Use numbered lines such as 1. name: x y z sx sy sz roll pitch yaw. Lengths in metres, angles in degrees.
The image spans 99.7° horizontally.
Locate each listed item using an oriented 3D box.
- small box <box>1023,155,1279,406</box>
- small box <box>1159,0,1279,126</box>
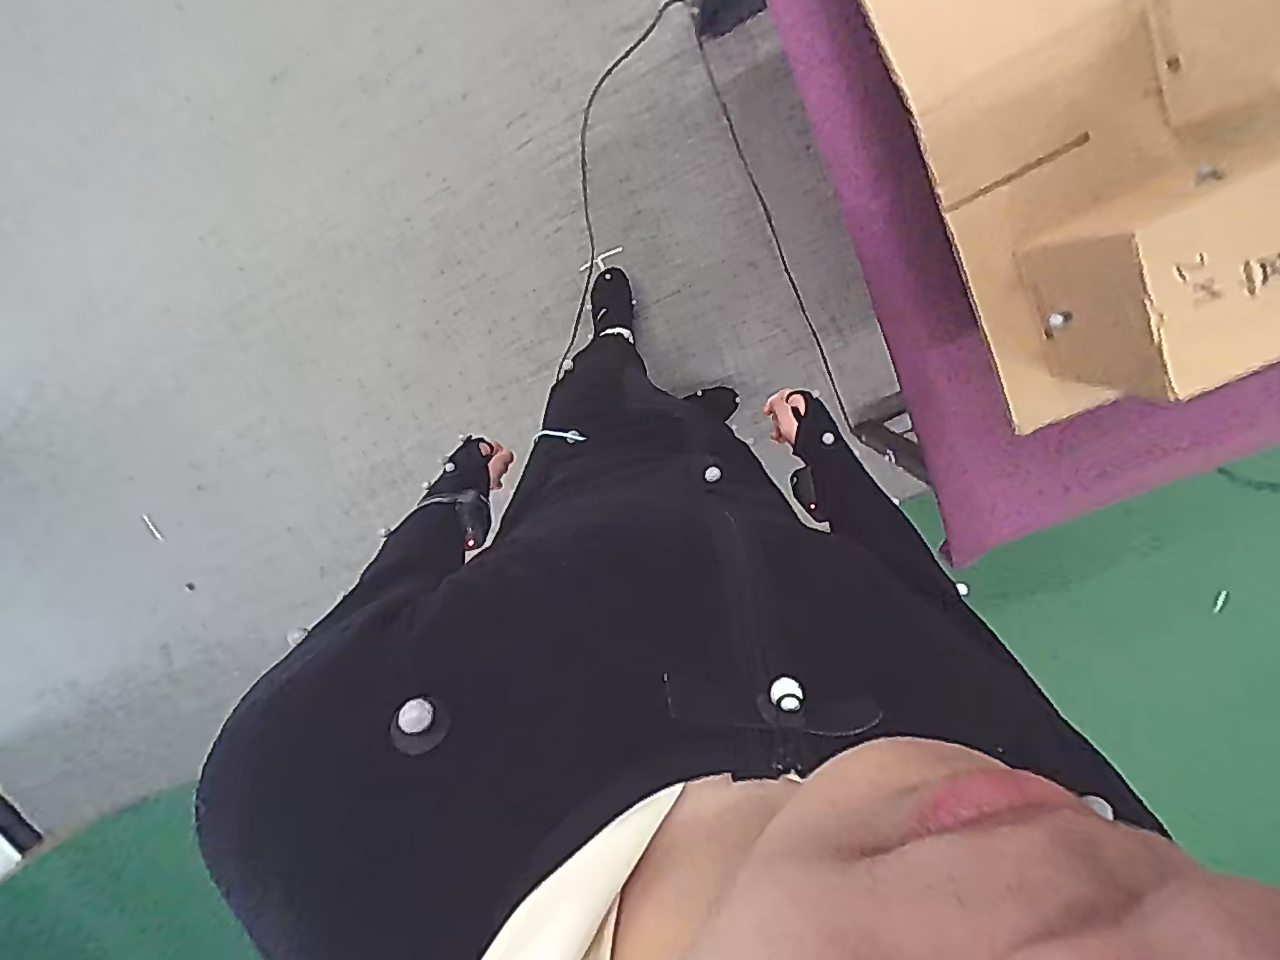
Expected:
1. small box: 0.534 -0.196 0.535 0.179 0.176 0.168 -25 104 11
2. small box: 0.591 -0.438 0.450 0.179 0.176 0.168 -26 106 11
